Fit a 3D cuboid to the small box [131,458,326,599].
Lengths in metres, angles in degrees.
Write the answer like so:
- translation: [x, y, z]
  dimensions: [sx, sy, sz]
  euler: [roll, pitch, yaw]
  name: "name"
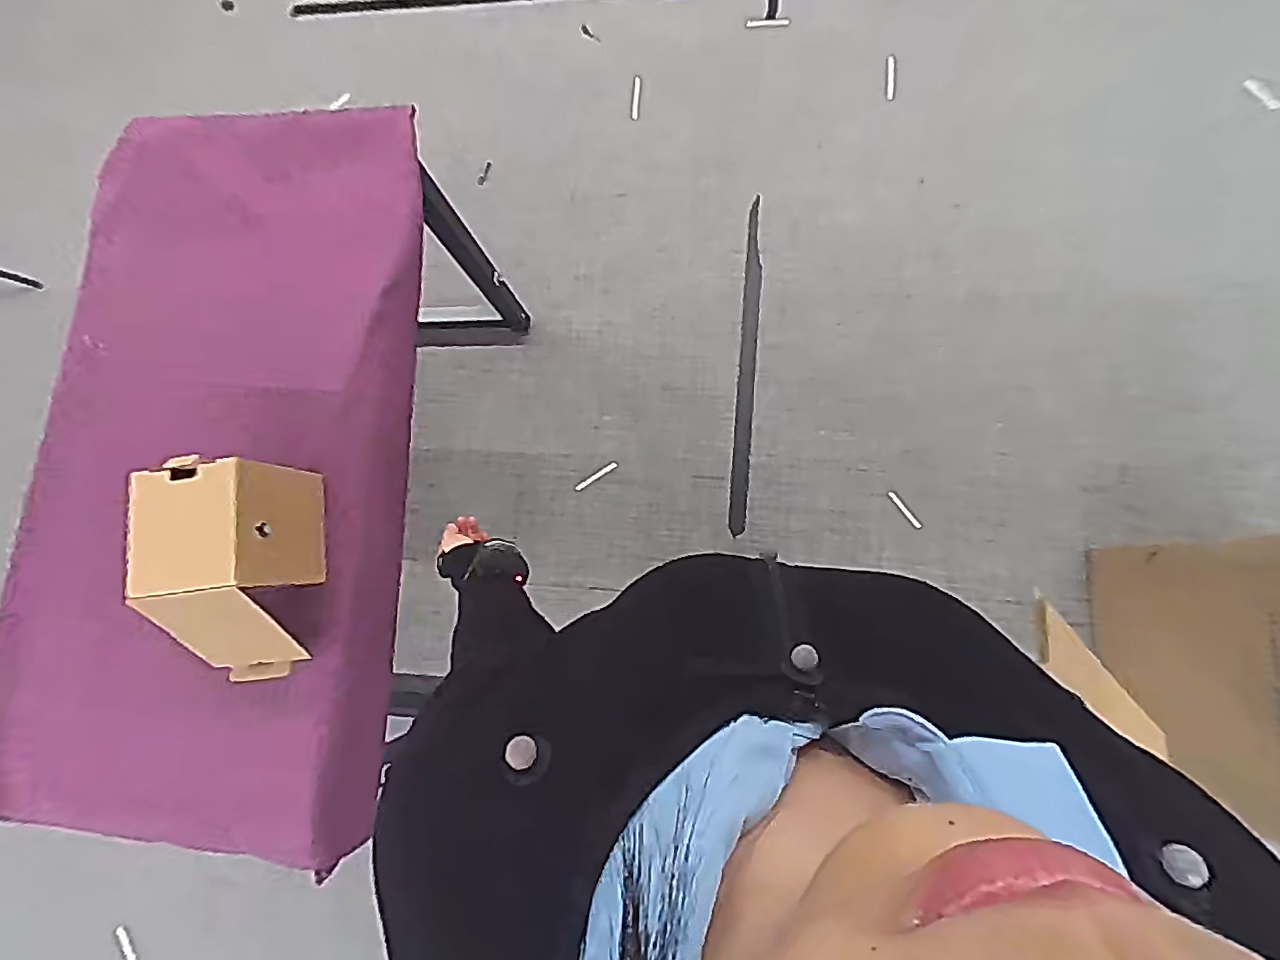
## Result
- translation: [-0.596, 0.075, 0.803]
  dimensions: [0.168, 0.176, 0.179]
  euler: [-8, 80, 6]
  name: "small box"
